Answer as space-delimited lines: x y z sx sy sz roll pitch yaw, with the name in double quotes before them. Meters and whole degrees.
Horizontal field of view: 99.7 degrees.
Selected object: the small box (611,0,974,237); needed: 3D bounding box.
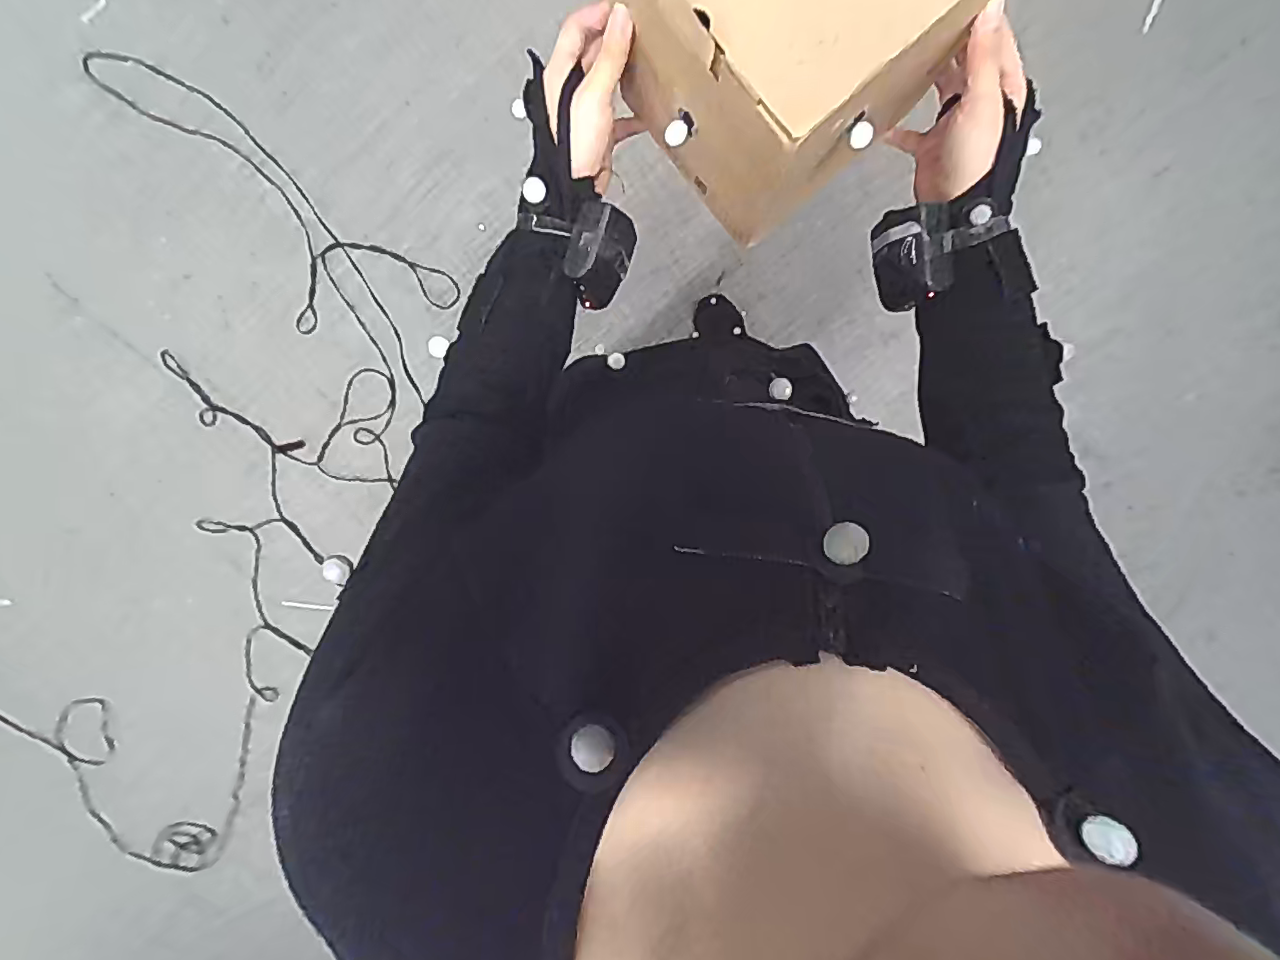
"small box" 0.096 -0.304 0.368 0.179 0.176 0.168 -40 92 5
